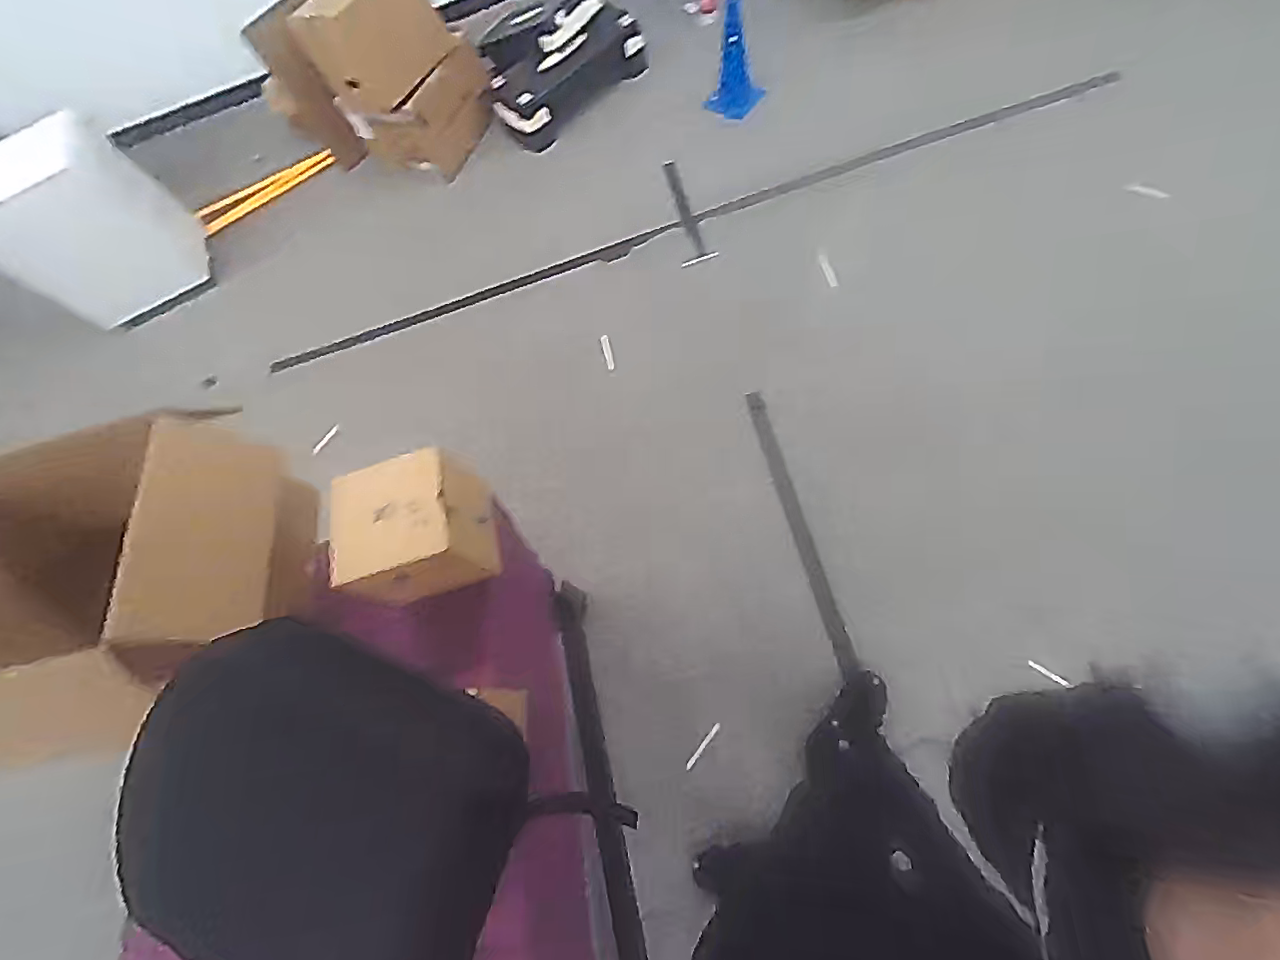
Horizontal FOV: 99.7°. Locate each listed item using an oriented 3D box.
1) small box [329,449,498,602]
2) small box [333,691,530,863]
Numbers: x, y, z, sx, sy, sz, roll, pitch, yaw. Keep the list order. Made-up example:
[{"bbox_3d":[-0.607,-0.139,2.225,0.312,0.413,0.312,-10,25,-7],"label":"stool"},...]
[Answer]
[{"bbox_3d":[-0.343,0.080,0.833,0.179,0.176,0.168,-18,67,5],"label":"small box"},{"bbox_3d":[-0.257,0.374,0.702,0.179,0.176,0.168,-11,67,6],"label":"small box"}]
